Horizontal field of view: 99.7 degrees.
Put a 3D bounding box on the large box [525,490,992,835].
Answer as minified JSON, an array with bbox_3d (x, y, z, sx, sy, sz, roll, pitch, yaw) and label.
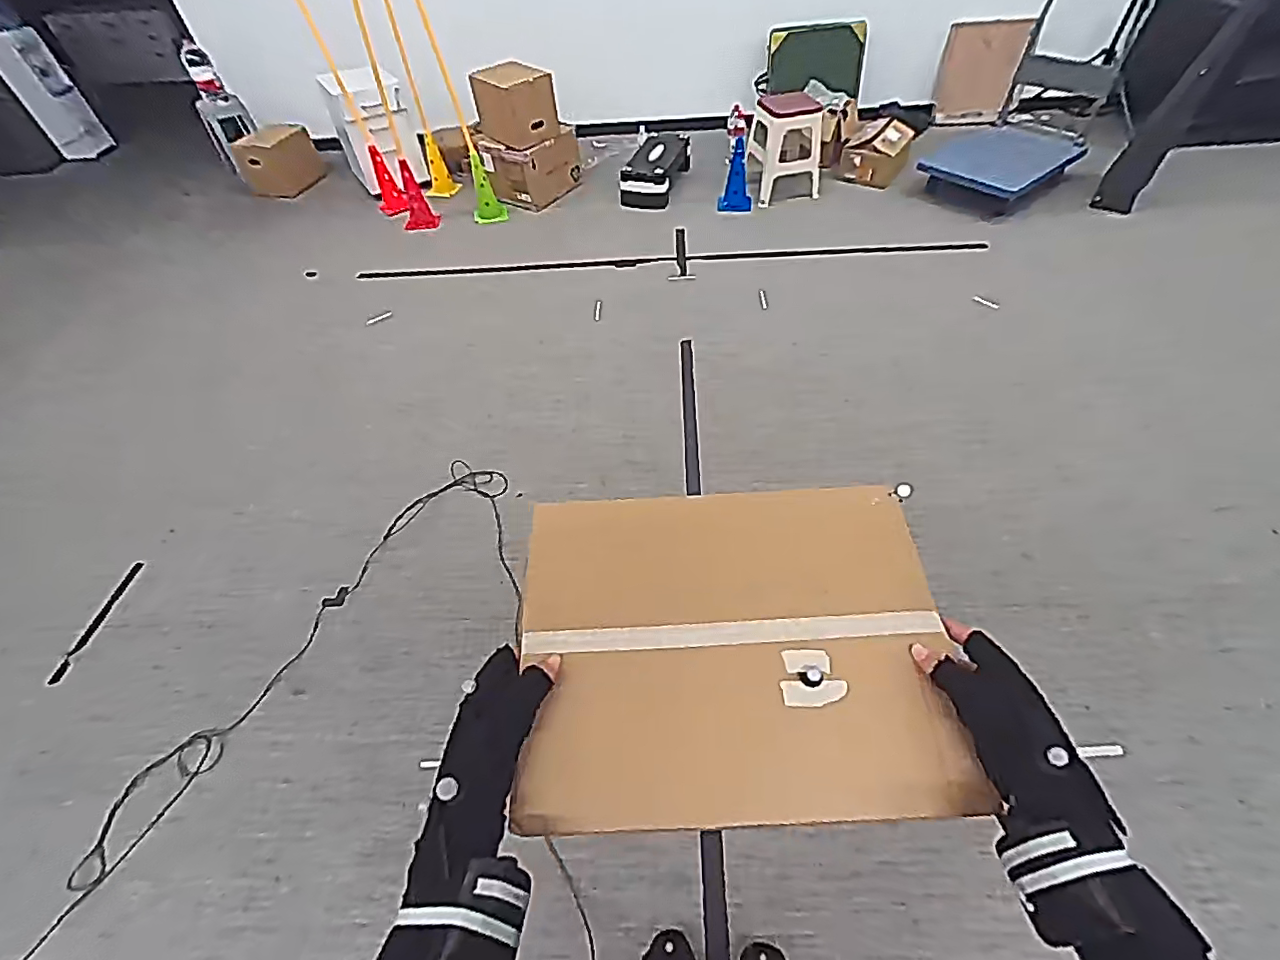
[{"bbox_3d":[0.095,0.232,0.656,0.408,0.320,0.320,-3,58,0],"label":"large box"}]
